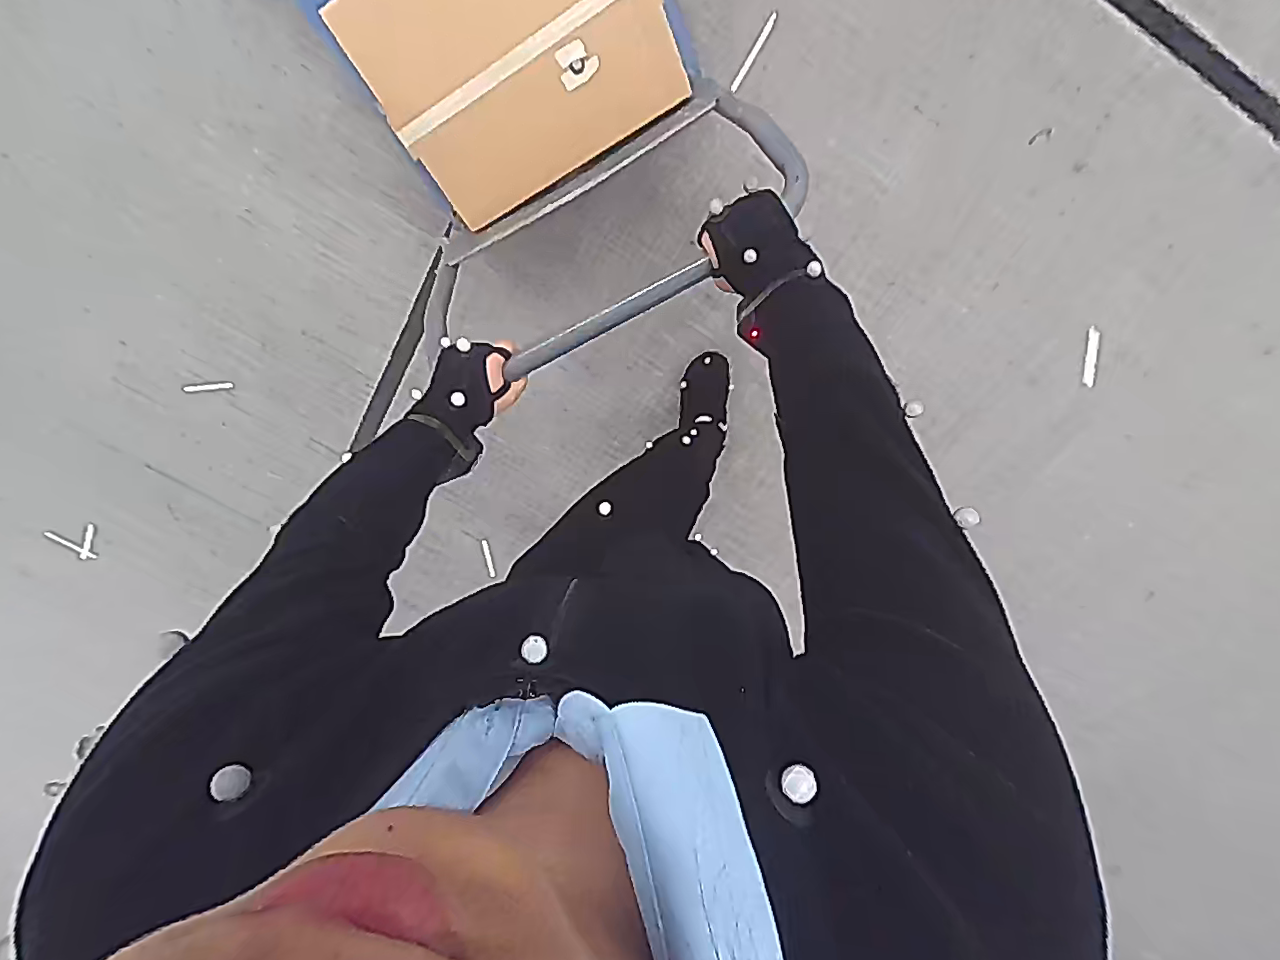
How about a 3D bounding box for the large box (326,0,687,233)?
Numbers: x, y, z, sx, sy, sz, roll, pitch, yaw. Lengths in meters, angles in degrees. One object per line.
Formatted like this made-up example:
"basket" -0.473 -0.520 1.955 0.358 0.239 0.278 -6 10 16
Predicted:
"large box" -0.192 -0.677 0.866 0.408 0.320 0.320 -27 129 12
